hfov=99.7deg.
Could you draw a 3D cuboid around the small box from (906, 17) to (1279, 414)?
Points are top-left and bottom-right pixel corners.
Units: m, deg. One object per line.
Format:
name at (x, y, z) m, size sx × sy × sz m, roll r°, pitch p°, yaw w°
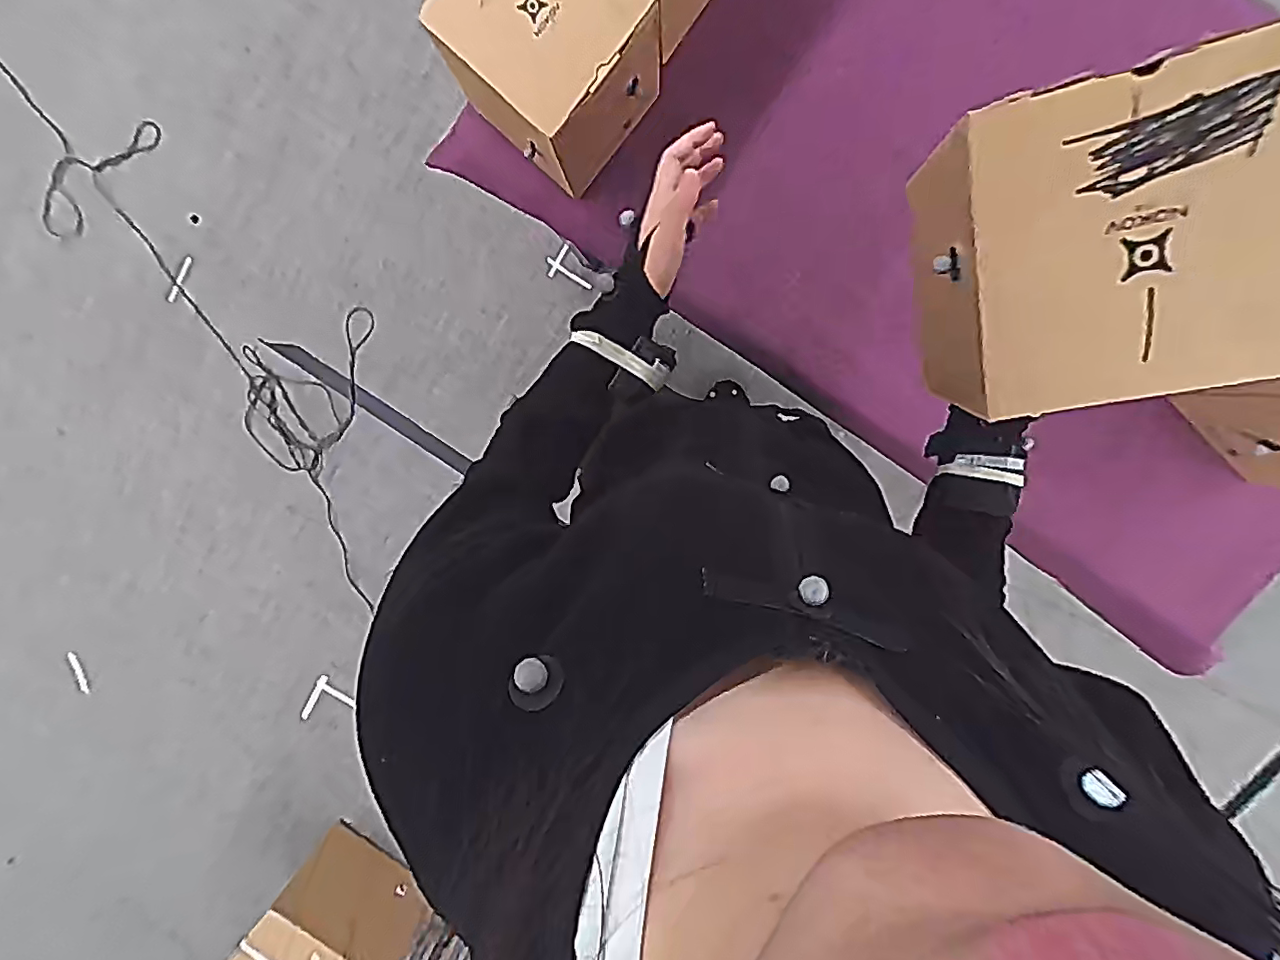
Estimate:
small box at (0.293, -0.155, 0.371) m, size 0.168 × 0.176 × 0.179 m, roll -8°, pitch 104°, yaw 18°
